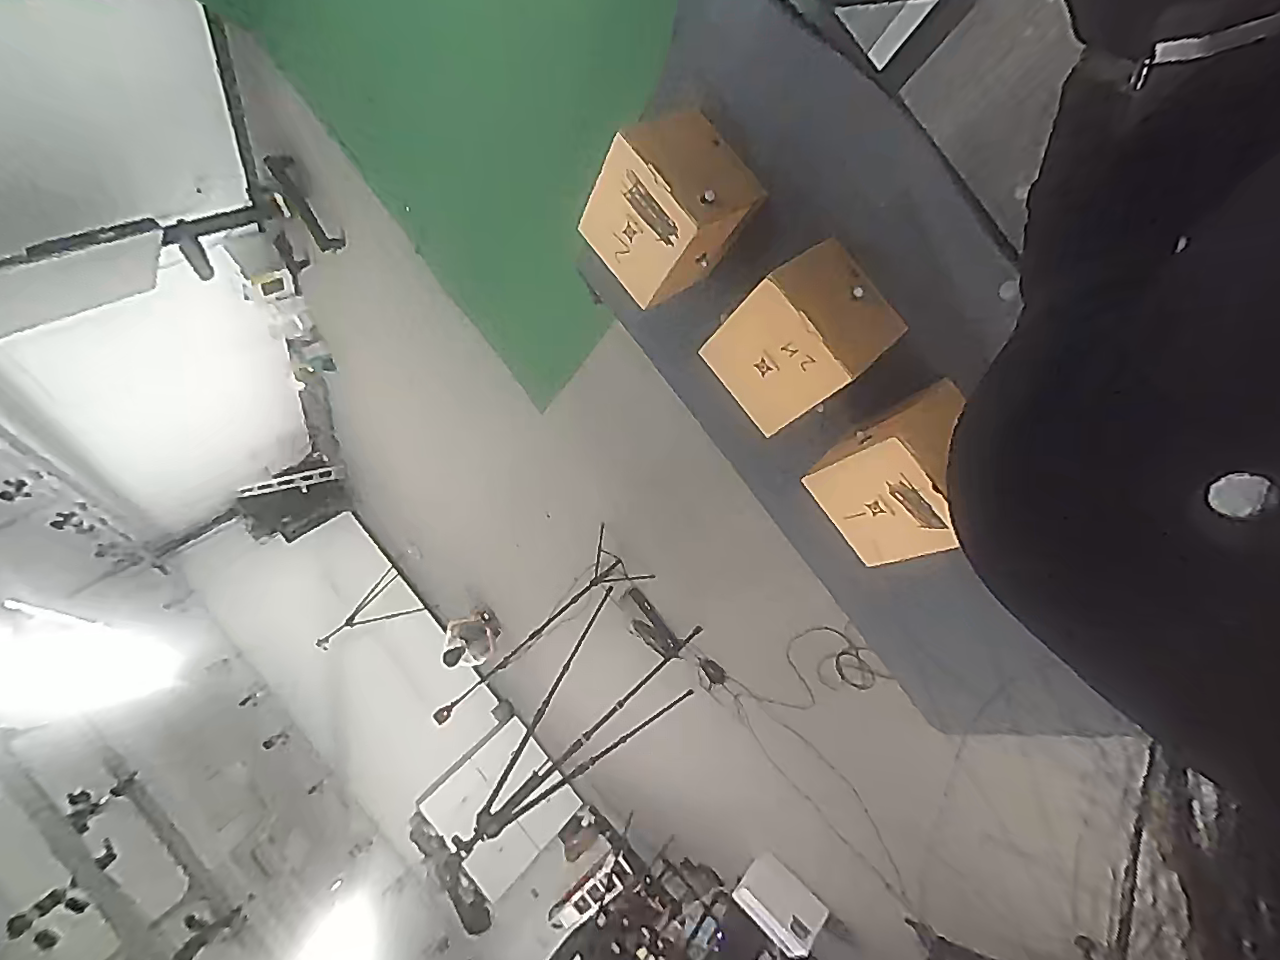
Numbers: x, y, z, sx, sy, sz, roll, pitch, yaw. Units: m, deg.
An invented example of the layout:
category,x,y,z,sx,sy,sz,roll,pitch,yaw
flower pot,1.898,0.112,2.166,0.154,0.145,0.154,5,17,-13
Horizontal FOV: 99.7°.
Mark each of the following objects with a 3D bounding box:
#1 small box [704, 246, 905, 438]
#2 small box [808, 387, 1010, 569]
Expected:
category,x,y,z,sx,sy,sz,roll,pitch,yaw
small box,0.231,-0.193,0.766,0.168,0.176,0.179,51,147,1
small box,0.383,-0.003,0.762,0.168,0.176,0.179,53,148,1
